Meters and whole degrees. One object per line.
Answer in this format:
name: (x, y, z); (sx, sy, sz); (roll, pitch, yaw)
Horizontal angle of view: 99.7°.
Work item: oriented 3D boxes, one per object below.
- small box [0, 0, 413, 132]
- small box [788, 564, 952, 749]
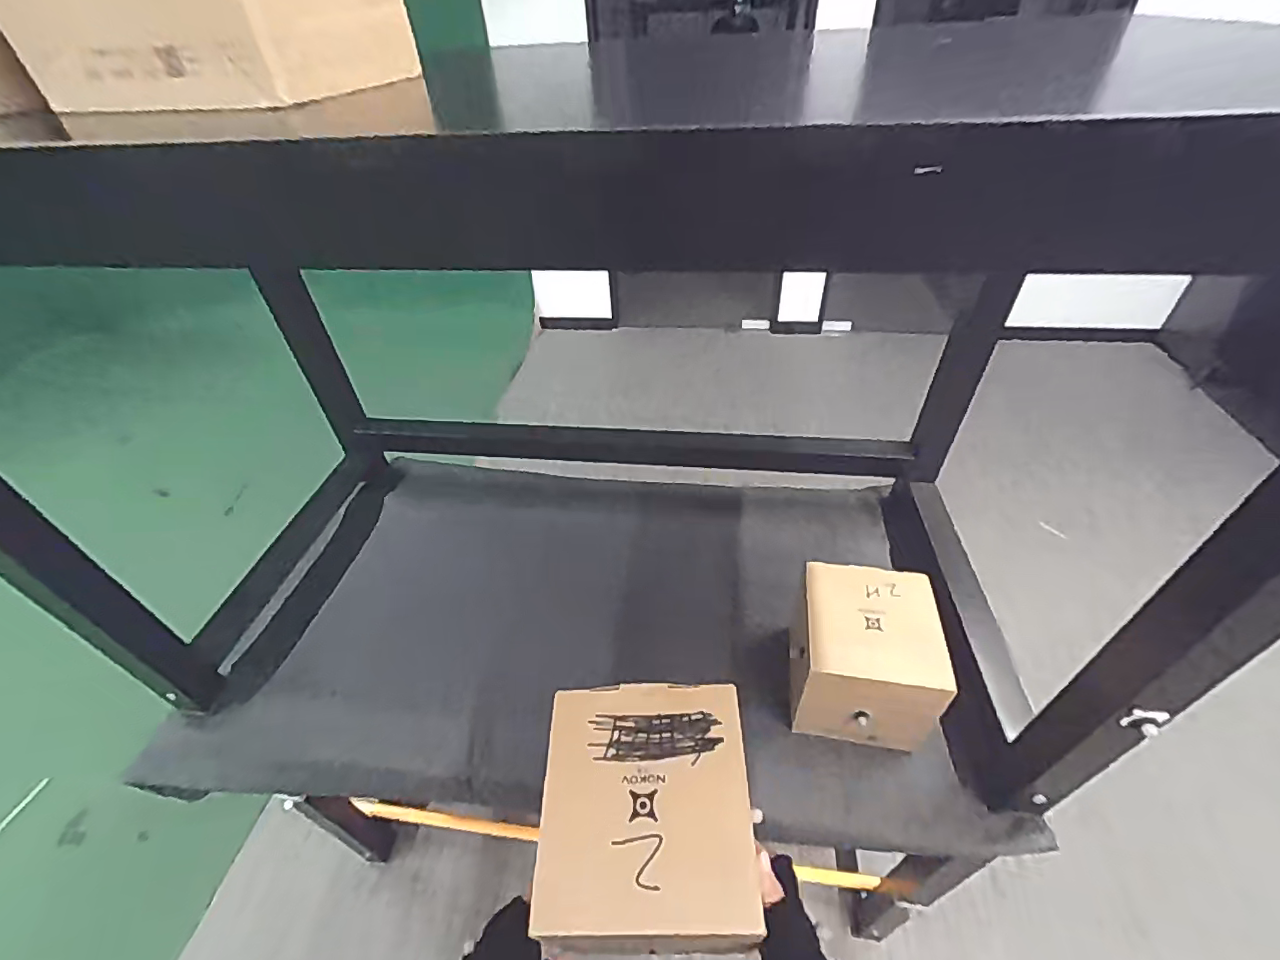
small box: (-0.274, -0.330, 0.342); (0.168, 0.176, 0.179); (5, 42, 9)
small box: (0.303, 0.244, 0.750); (0.168, 0.176, 0.179); (6, 42, 10)
